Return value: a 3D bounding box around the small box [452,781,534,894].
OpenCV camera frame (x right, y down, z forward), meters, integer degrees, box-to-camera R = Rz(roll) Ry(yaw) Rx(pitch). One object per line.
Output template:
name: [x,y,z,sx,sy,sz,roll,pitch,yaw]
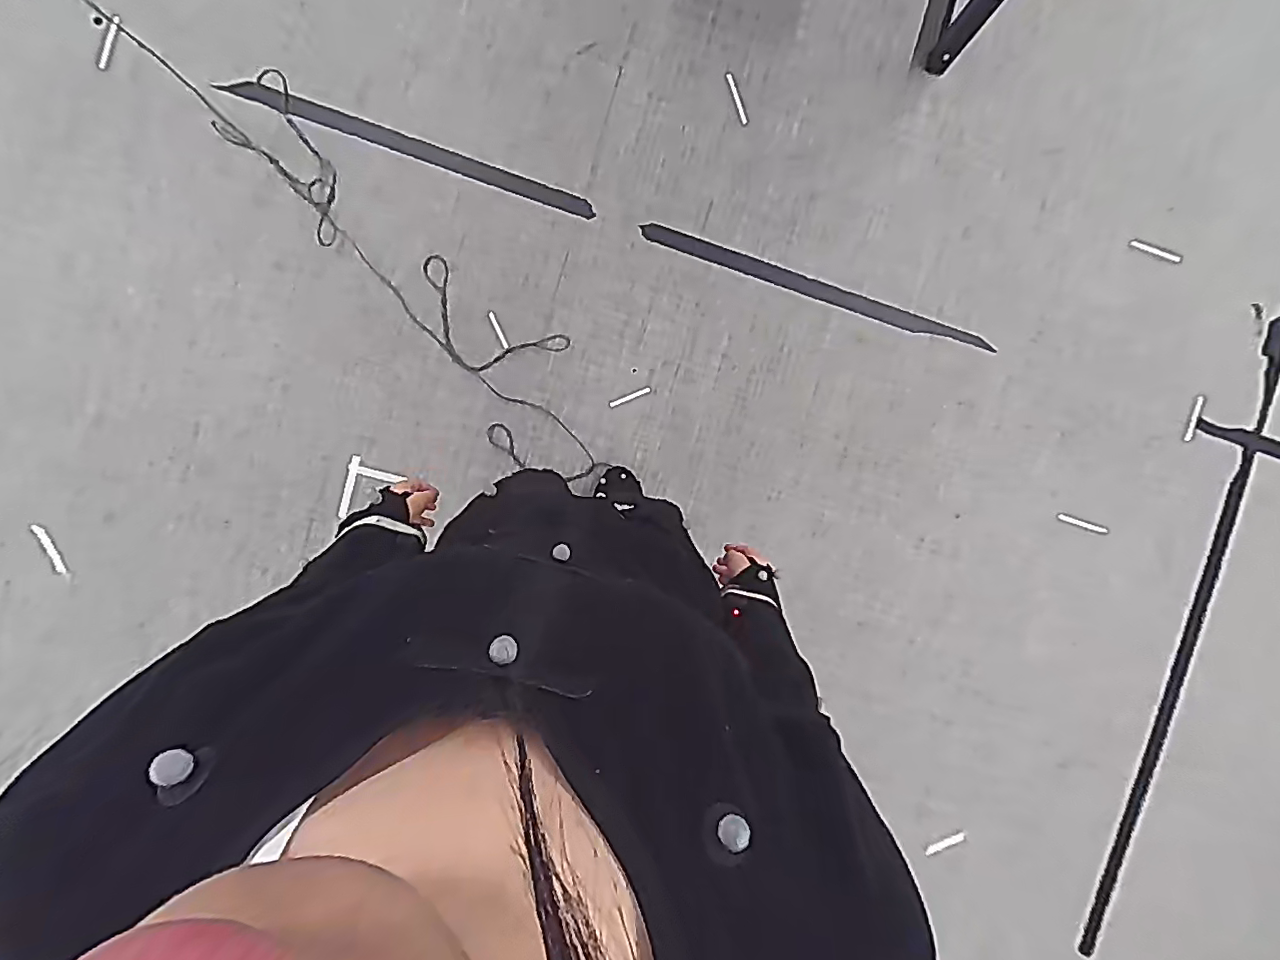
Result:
small box: [-0.376,0.927,1.412,0.168,0.176,0.179,8,91,-4]
